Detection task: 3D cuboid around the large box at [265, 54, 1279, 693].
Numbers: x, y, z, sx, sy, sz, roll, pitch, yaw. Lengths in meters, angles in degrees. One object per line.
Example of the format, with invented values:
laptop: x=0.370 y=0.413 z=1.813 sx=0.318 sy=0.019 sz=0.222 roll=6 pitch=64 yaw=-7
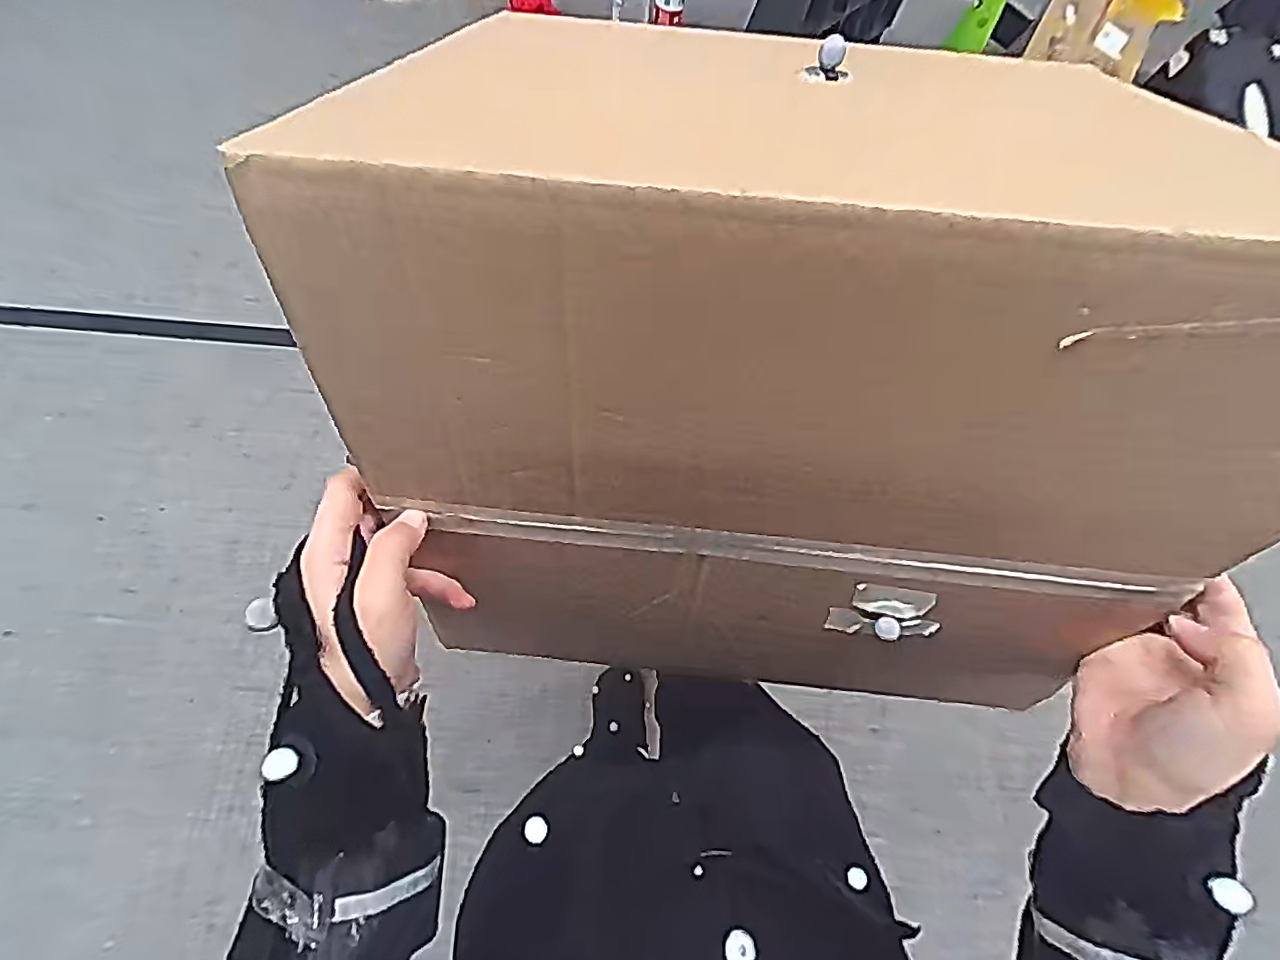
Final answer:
large box: x=0.076 y=-0.078 z=0.380 sx=0.408 sy=0.320 sz=0.320 roll=5 pitch=47 yaw=1
